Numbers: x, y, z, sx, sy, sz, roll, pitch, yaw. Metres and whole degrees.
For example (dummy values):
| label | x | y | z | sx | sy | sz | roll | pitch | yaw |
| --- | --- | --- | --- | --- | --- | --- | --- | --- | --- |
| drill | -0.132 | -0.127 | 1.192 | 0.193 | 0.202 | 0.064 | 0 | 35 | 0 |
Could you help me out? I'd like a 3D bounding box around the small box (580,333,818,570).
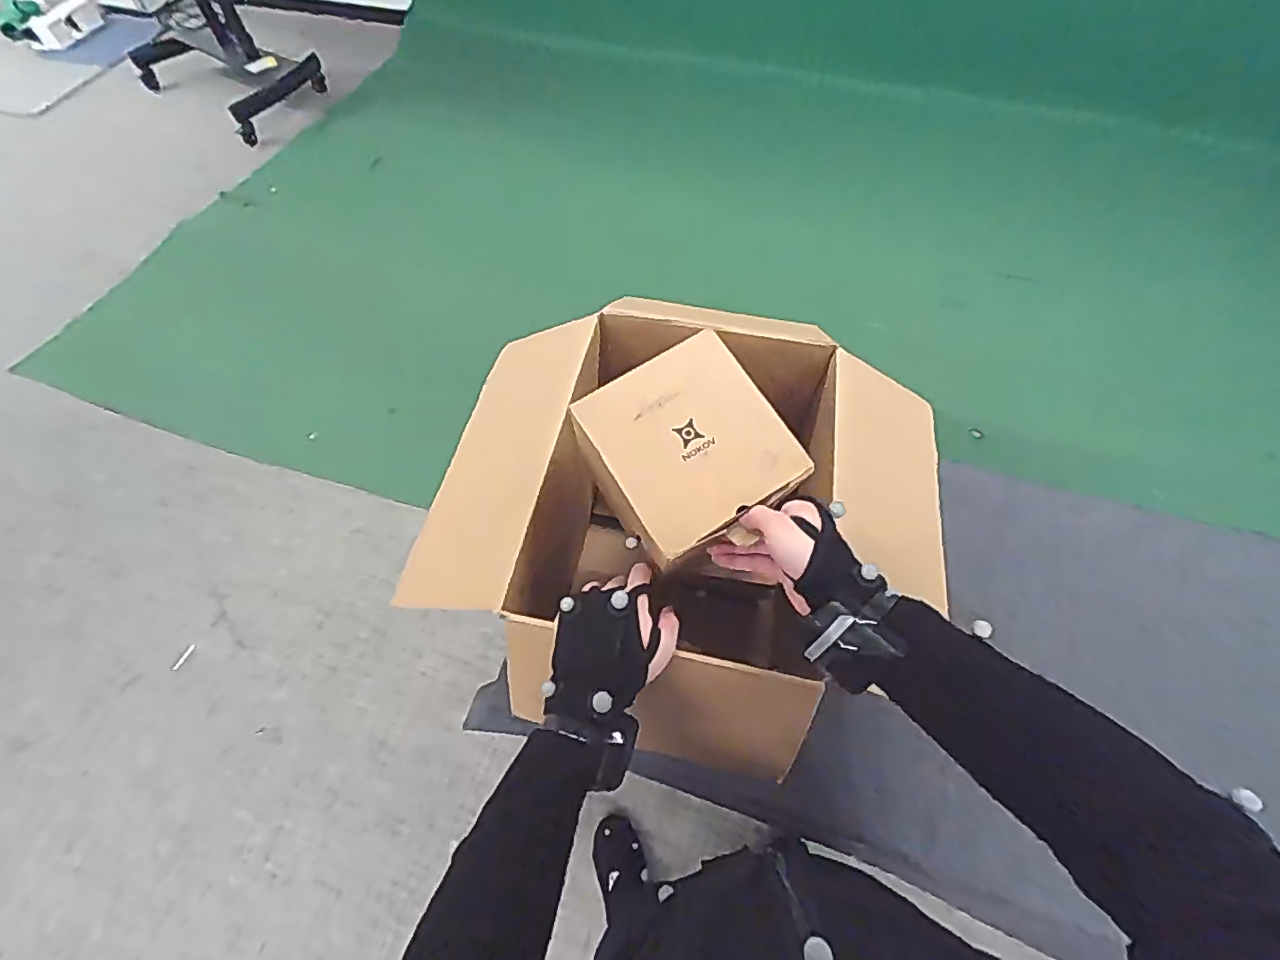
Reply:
| label | x | y | z | sx | sy | sz | roll | pitch | yaw |
| --- | --- | --- | --- | --- | --- | --- | --- | --- | --- |
| small box | 0.054 | -0.017 | 0.585 | 0.168 | 0.176 | 0.179 | -30 | 75 | -11 |
